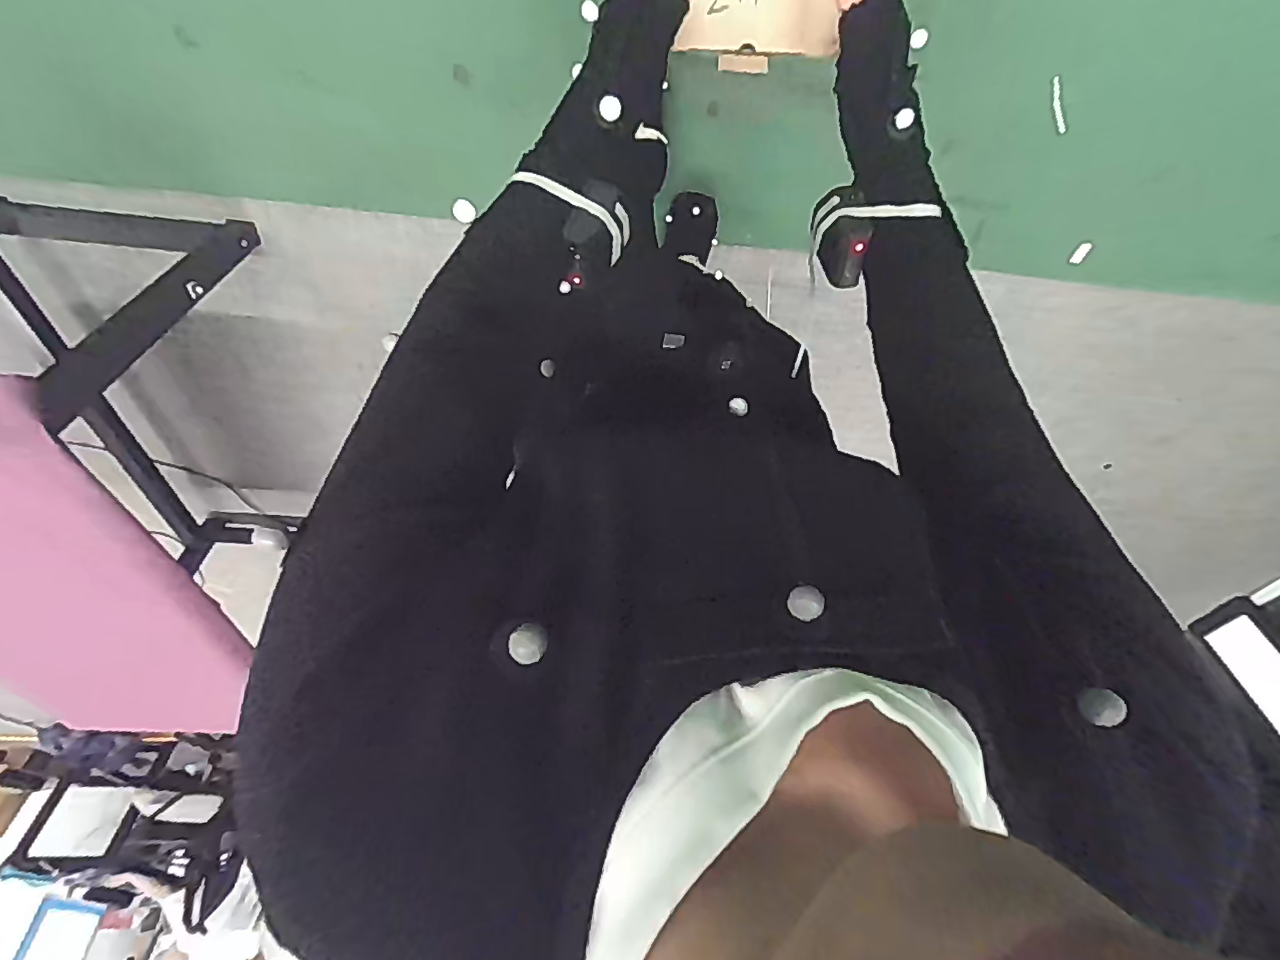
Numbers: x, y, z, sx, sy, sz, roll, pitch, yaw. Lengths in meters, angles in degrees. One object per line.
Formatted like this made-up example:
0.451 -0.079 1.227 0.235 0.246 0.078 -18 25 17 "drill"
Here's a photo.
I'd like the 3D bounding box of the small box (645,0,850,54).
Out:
0.091 -0.487 0.461 0.168 0.176 0.179 1 135 -2 "small box"
